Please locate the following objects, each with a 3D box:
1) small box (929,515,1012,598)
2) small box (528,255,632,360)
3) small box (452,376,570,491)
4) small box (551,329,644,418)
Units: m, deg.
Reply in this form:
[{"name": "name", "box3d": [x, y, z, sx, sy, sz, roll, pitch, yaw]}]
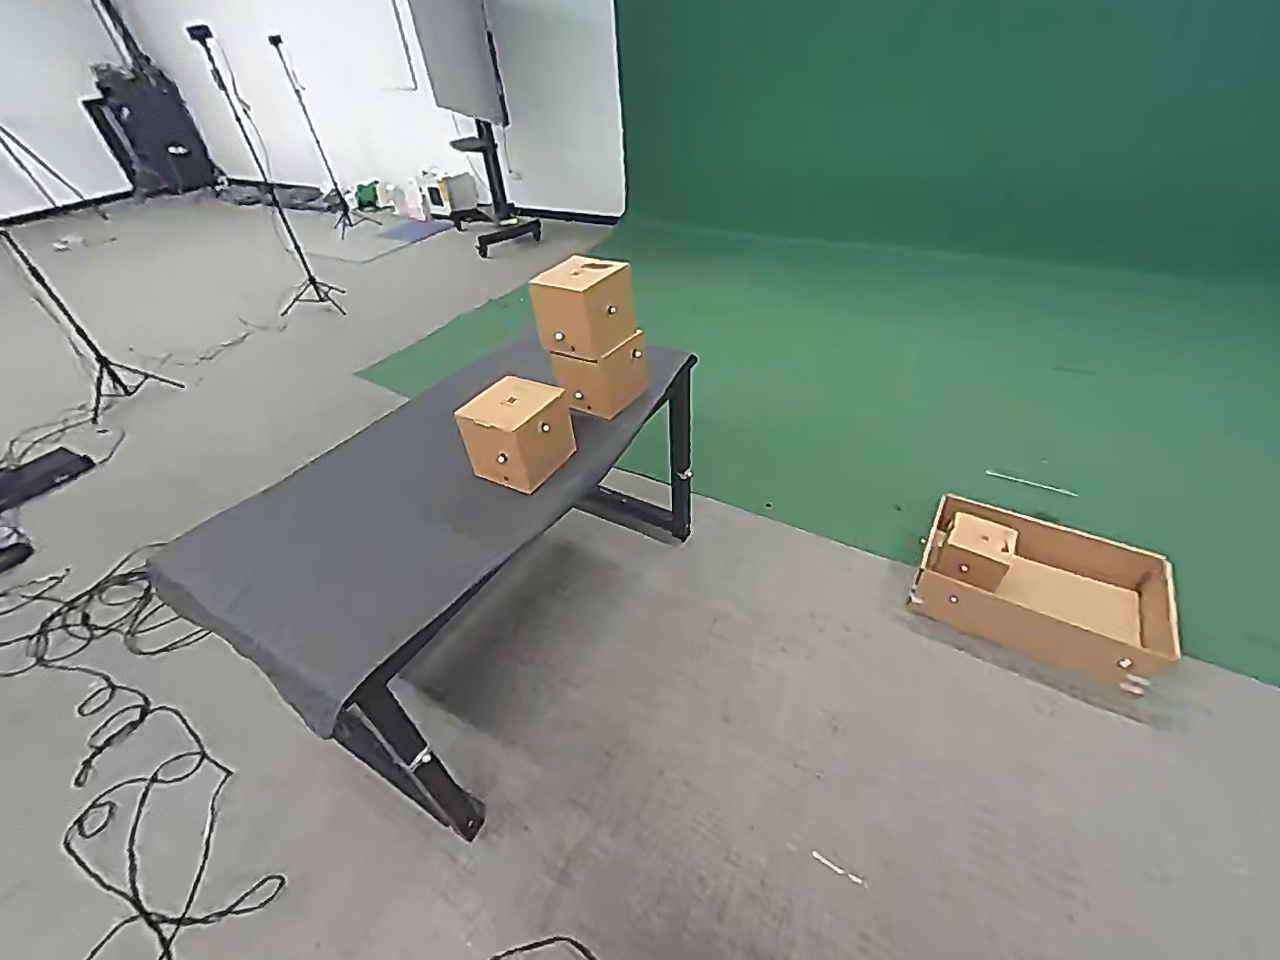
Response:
[{"name": "small box", "box3d": [1.046, 0.245, 1.721, 0.179, 0.176, 0.168, 21, 47, 27]}, {"name": "small box", "box3d": [-0.131, -0.405, 1.267, 0.168, 0.176, 0.179, 21, 48, 28]}, {"name": "small box", "box3d": [-0.270, -0.101, 1.180, 0.168, 0.176, 0.179, 18, 44, 25]}, {"name": "small box", "box3d": [-0.102, -0.284, 1.375, 0.168, 0.176, 0.179, 21, 47, 29]}]
